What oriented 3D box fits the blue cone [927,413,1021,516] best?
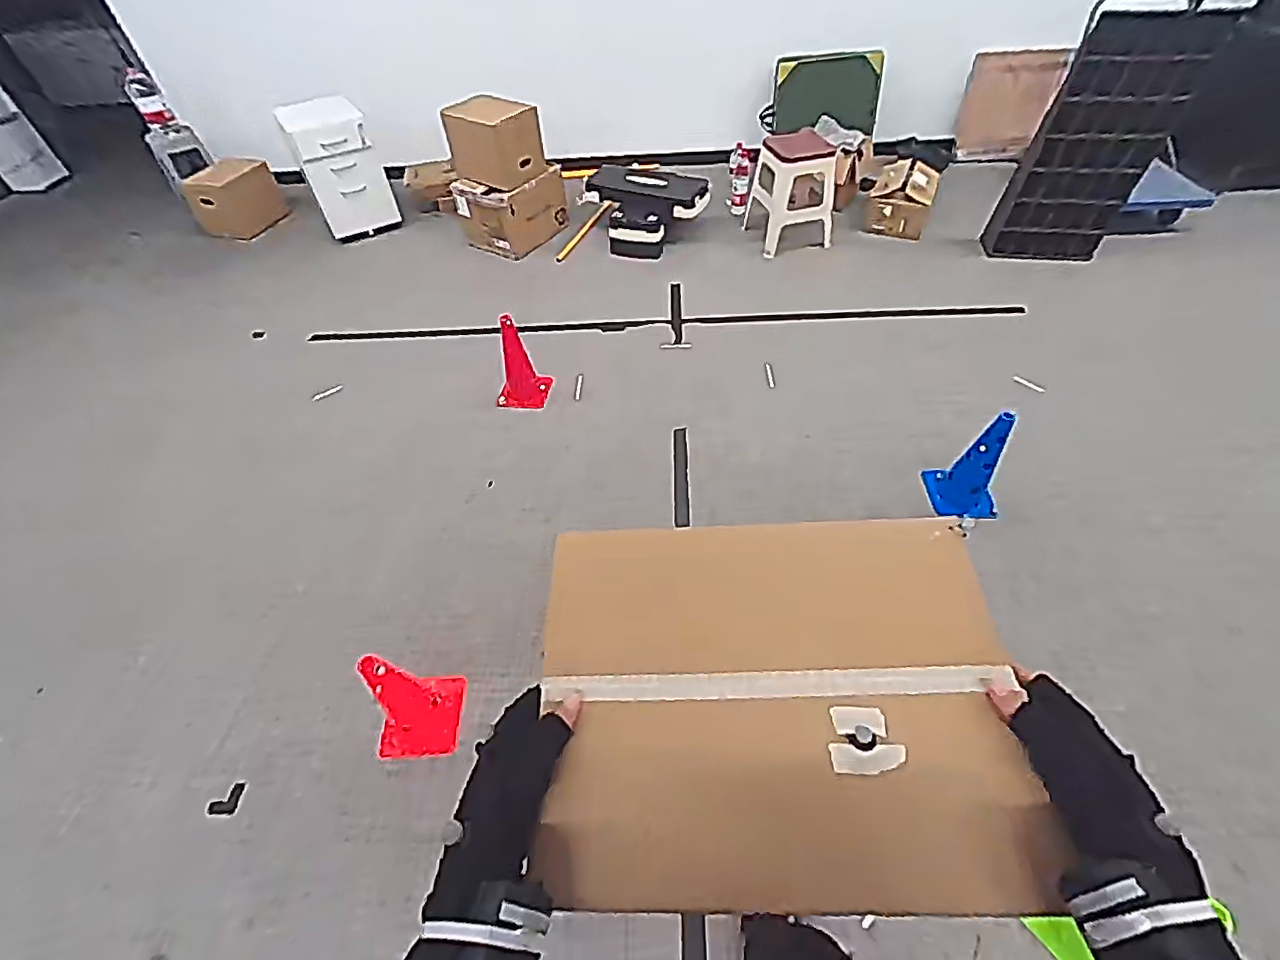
[{"bbox_3d":[1.071,-0.062,1.693,0.192,0.380,0.193,2,50,4],"label":"blue cone"}]

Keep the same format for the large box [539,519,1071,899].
[{"bbox_3d":[0.127,0.260,0.608,0.408,0.320,0.320,-3,57,4],"label":"large box"}]

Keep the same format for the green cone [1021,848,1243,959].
[{"bbox_3d":[0.903,0.783,0.959,0.202,0.368,0.200,-30,55,-22],"label":"green cone"}]

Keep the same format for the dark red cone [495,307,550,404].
[{"bbox_3d":[-0.489,-0.489,2.111,0.201,0.394,0.202,4,50,6],"label":"dark red cone"}]

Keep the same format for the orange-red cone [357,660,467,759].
[{"bbox_3d":[-0.574,0.515,1.289,0.198,0.360,0.199,-4,51,2],"label":"orange-red cone"}]
